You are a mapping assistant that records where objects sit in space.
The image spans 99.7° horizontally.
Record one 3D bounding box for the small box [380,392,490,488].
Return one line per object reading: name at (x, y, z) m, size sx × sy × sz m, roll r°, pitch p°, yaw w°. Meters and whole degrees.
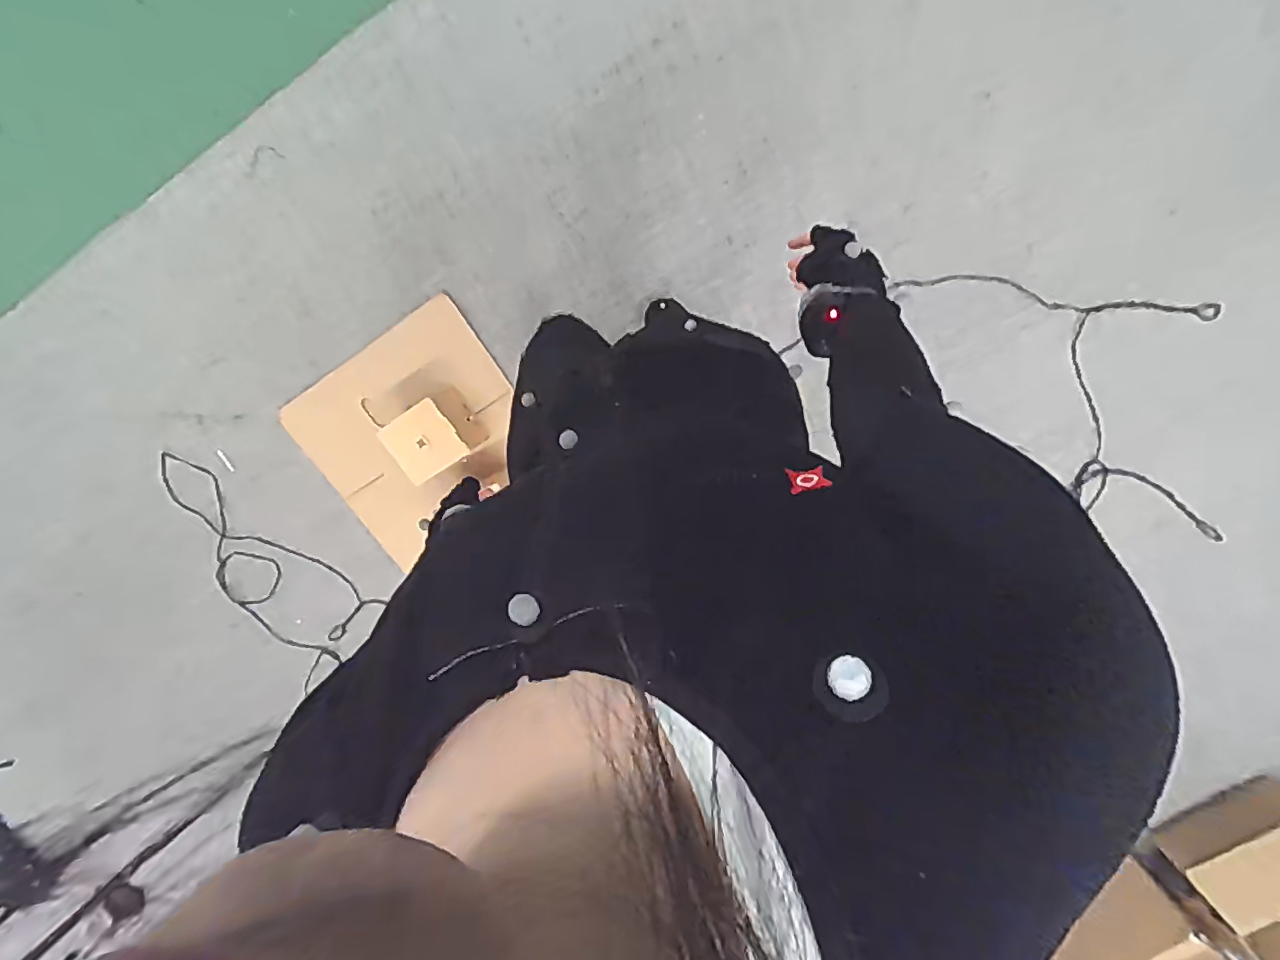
small box at (-0.522, -0.110, 1.402) m, size 0.179 × 0.176 × 0.168 m, roll -32°, pitch 103°, yaw 11°
